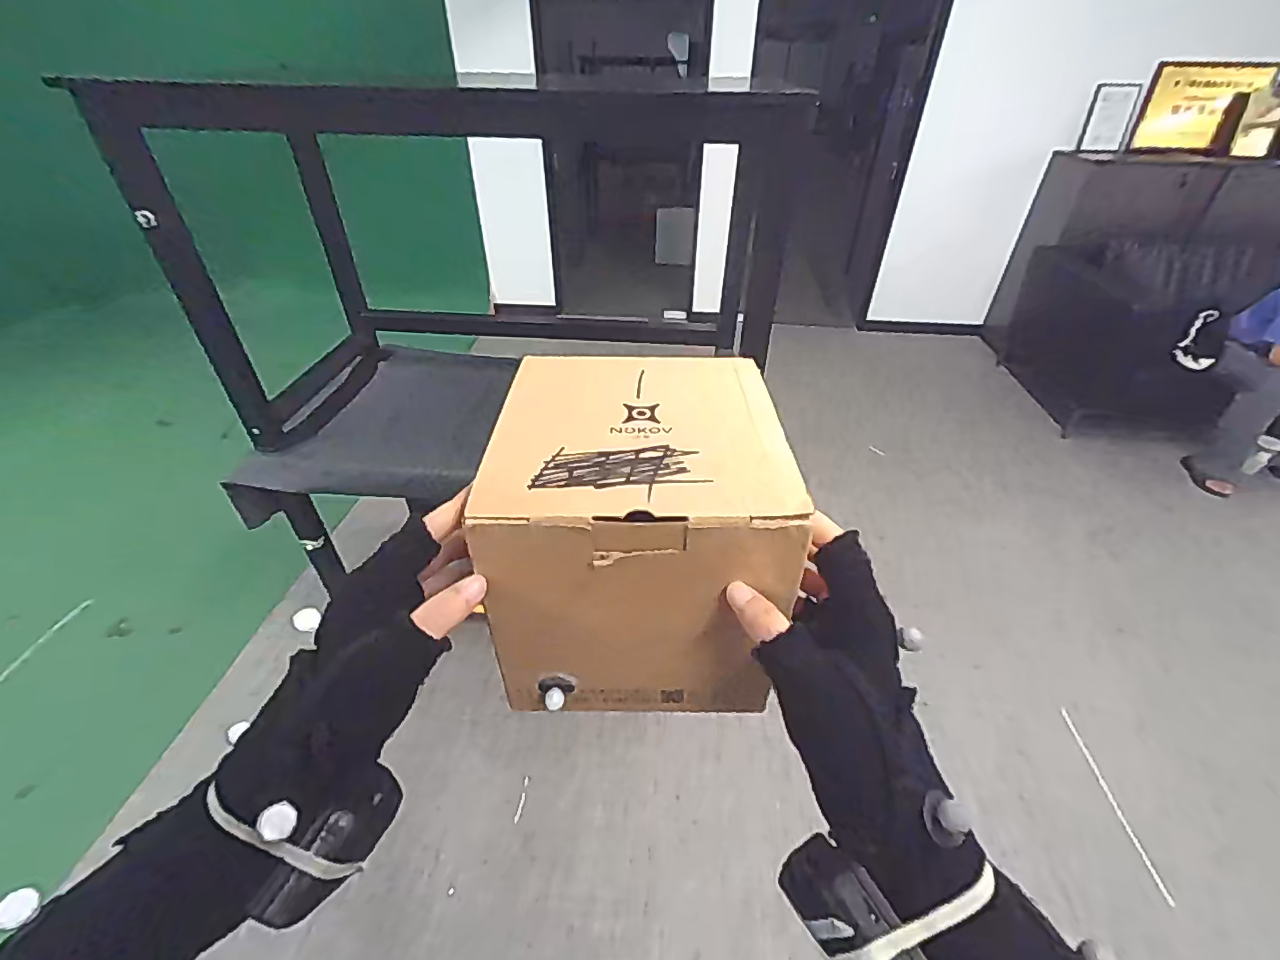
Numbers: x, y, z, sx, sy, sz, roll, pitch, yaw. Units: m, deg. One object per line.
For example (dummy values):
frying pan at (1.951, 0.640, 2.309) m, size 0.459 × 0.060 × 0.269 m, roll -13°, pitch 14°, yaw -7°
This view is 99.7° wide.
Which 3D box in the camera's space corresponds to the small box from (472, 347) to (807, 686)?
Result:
small box at (0.001, 0.021, 0.370) m, size 0.168 × 0.176 × 0.179 m, roll 1°, pitch 36°, yaw 0°
